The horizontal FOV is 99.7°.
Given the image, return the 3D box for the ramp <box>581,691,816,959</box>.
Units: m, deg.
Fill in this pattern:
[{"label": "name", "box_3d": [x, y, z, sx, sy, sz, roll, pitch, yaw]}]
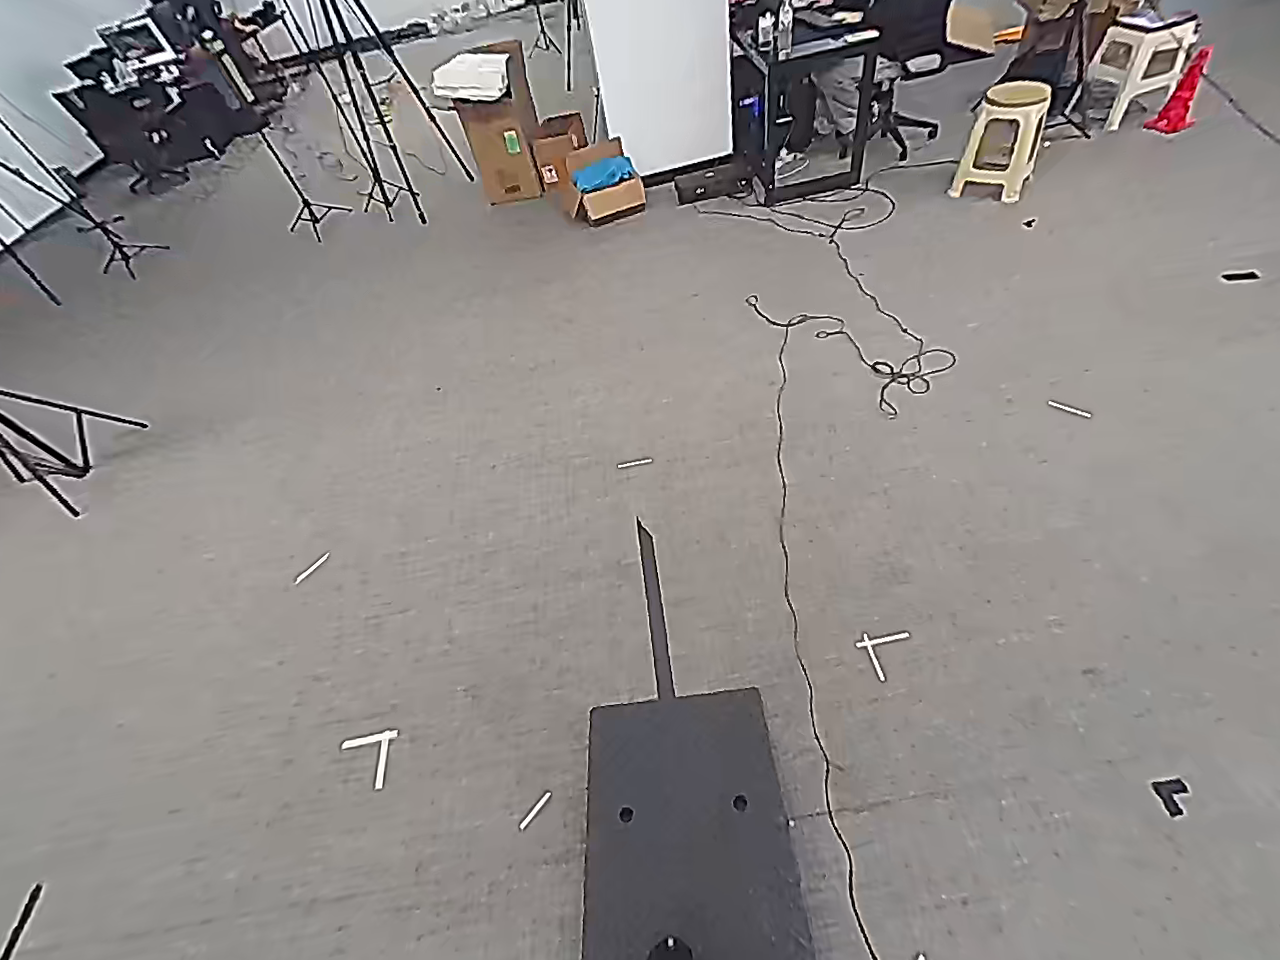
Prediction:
[{"label": "ramp", "box_3d": [0.112, 0.953, 1.170, 0.509, 0.206, 0.991, -11, 49, 4]}]
